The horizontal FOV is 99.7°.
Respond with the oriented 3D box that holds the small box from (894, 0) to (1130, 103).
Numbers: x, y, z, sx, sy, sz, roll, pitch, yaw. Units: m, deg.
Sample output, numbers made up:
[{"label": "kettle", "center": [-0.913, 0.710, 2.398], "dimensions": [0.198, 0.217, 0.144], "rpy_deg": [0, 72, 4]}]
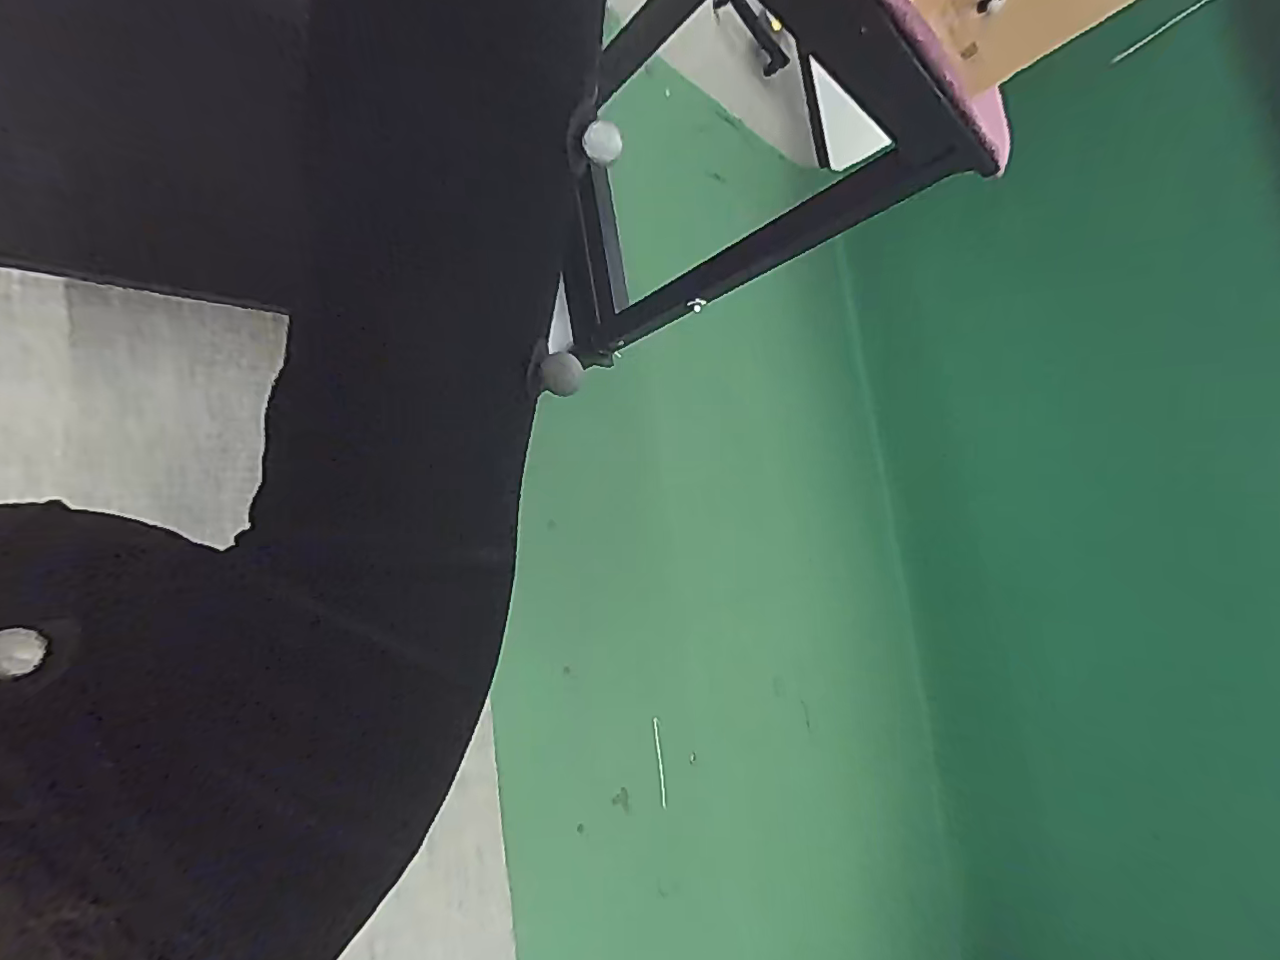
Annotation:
[{"label": "small box", "center": [0.345, -0.527, 0.518], "dimensions": [0.168, 0.176, 0.179], "rpy_deg": [12, 73, -42]}]
